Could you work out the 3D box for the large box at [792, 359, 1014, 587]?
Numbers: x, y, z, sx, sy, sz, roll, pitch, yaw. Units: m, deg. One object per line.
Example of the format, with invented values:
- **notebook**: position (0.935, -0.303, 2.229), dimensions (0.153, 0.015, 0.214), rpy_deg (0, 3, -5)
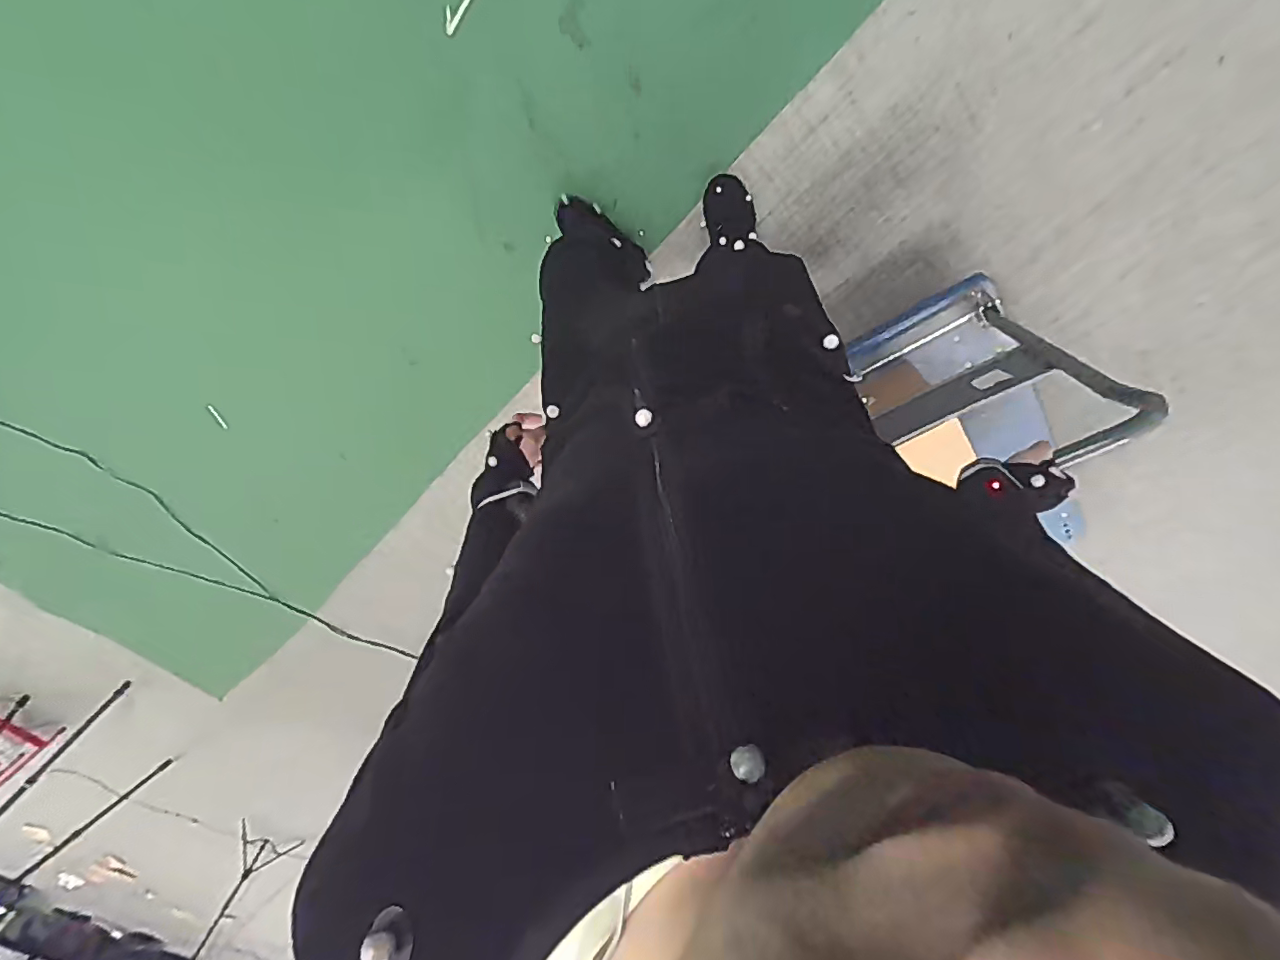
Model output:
- **large box**: position (0.630, -0.017, 1.344), dimensions (0.320, 0.320, 0.408), rpy_deg (-30, 116, 23)
